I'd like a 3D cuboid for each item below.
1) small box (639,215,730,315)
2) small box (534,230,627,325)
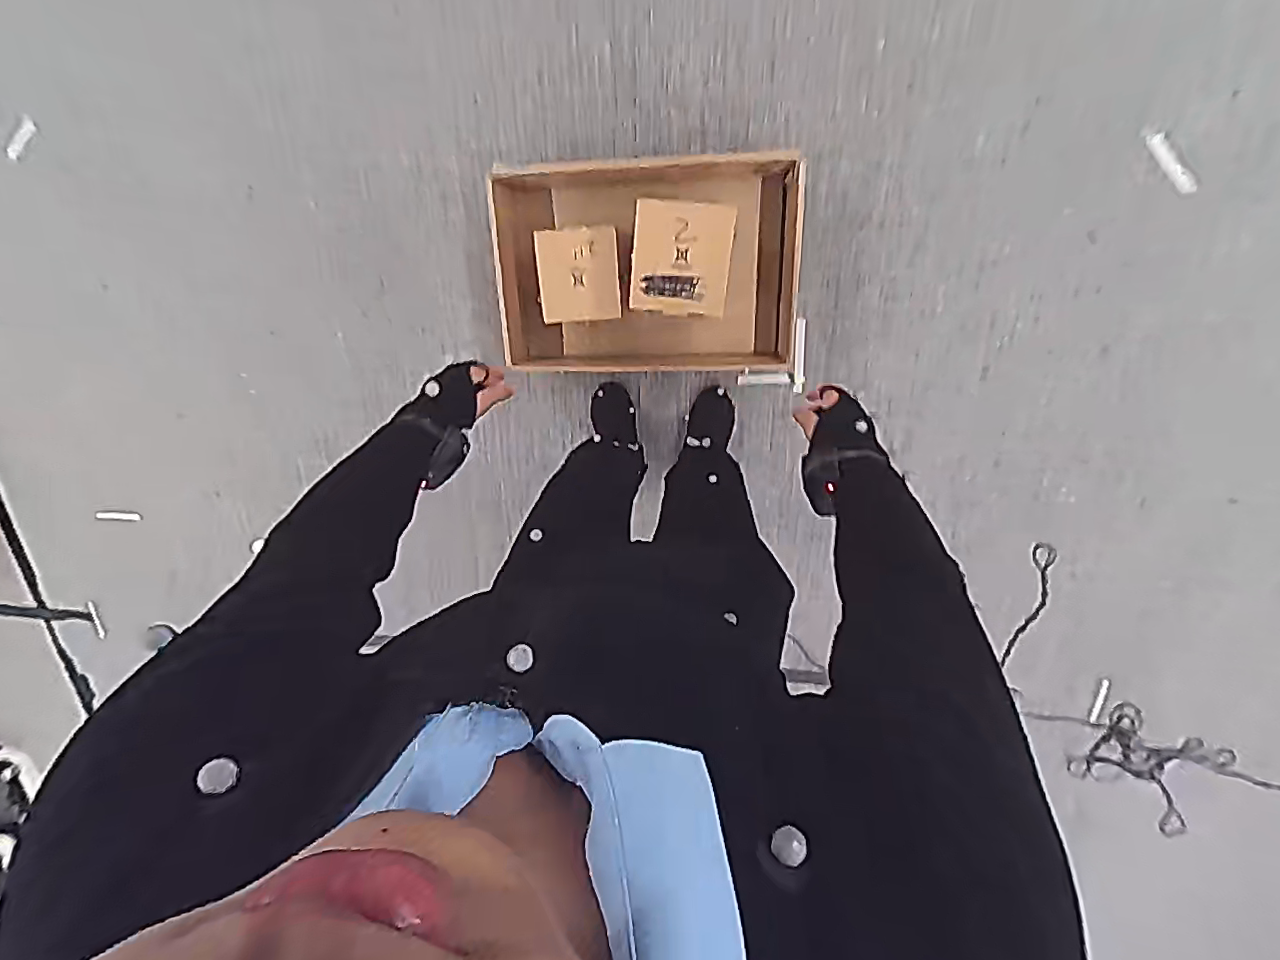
[{"bbox_3d":[0.095,-0.448,1.136,0.168,0.176,0.179,6,111,7],"label":"small box"},{"bbox_3d":[-0.120,-0.432,1.162,0.168,0.176,0.179,-2,109,4],"label":"small box"}]
